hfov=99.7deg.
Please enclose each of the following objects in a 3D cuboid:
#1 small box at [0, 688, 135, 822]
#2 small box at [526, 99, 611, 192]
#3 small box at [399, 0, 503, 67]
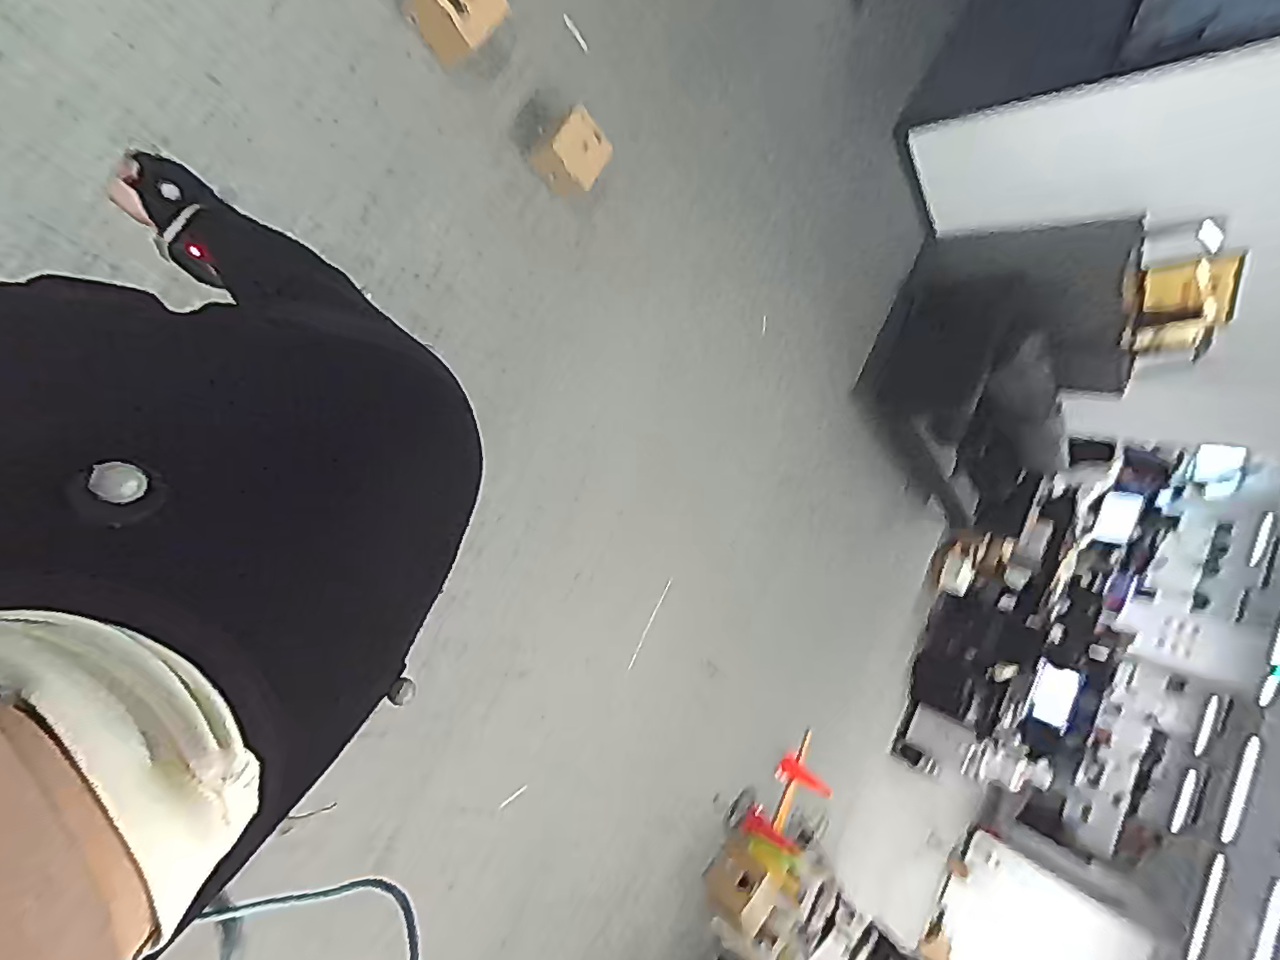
[{"bbox_3d":[-1.146,0.534,1.059,0.179,0.176,0.168,39,75,-42],"label":"small box"},{"bbox_3d":[-0.230,-1.036,1.692,0.168,0.176,0.179,38,77,-43],"label":"small box"},{"bbox_3d":[-0.498,-1.231,1.407,0.168,0.176,0.179,42,72,-43],"label":"small box"}]
